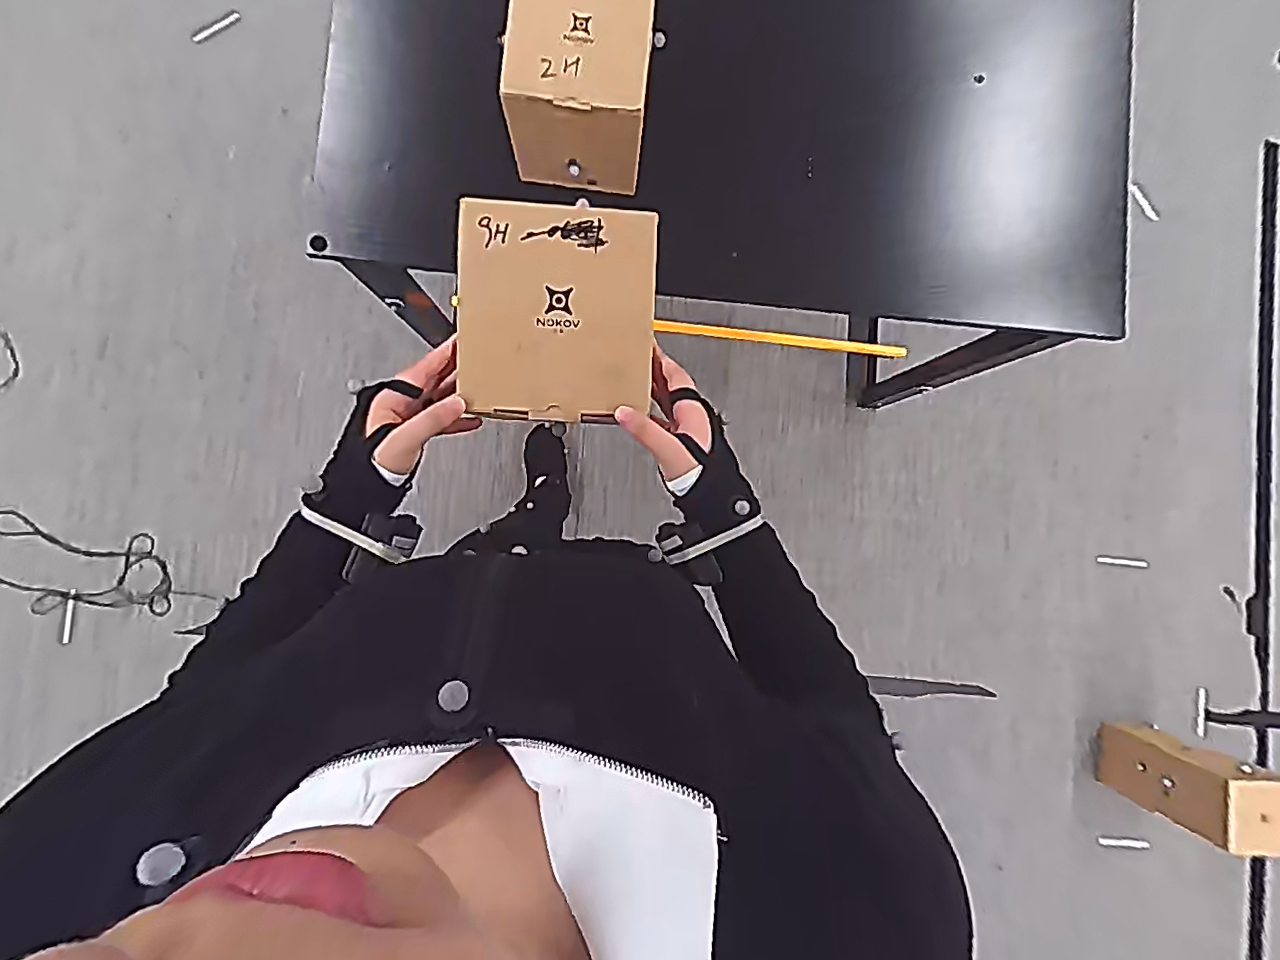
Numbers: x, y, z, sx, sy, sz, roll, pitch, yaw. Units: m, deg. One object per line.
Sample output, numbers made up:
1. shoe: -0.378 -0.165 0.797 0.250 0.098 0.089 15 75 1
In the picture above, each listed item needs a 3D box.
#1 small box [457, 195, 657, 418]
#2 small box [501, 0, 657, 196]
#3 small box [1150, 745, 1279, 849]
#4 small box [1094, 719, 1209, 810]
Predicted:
1. small box: -0.077 -0.153 0.536 0.168 0.176 0.179 2 95 -5
2. small box: -0.075 -0.508 0.701 0.168 0.176 0.179 6 87 -4
3. small box: 1.417 0.770 1.327 0.179 0.176 0.168 3 86 -2
4. small box: 1.404 0.781 1.489 0.168 0.176 0.179 8 88 -3
